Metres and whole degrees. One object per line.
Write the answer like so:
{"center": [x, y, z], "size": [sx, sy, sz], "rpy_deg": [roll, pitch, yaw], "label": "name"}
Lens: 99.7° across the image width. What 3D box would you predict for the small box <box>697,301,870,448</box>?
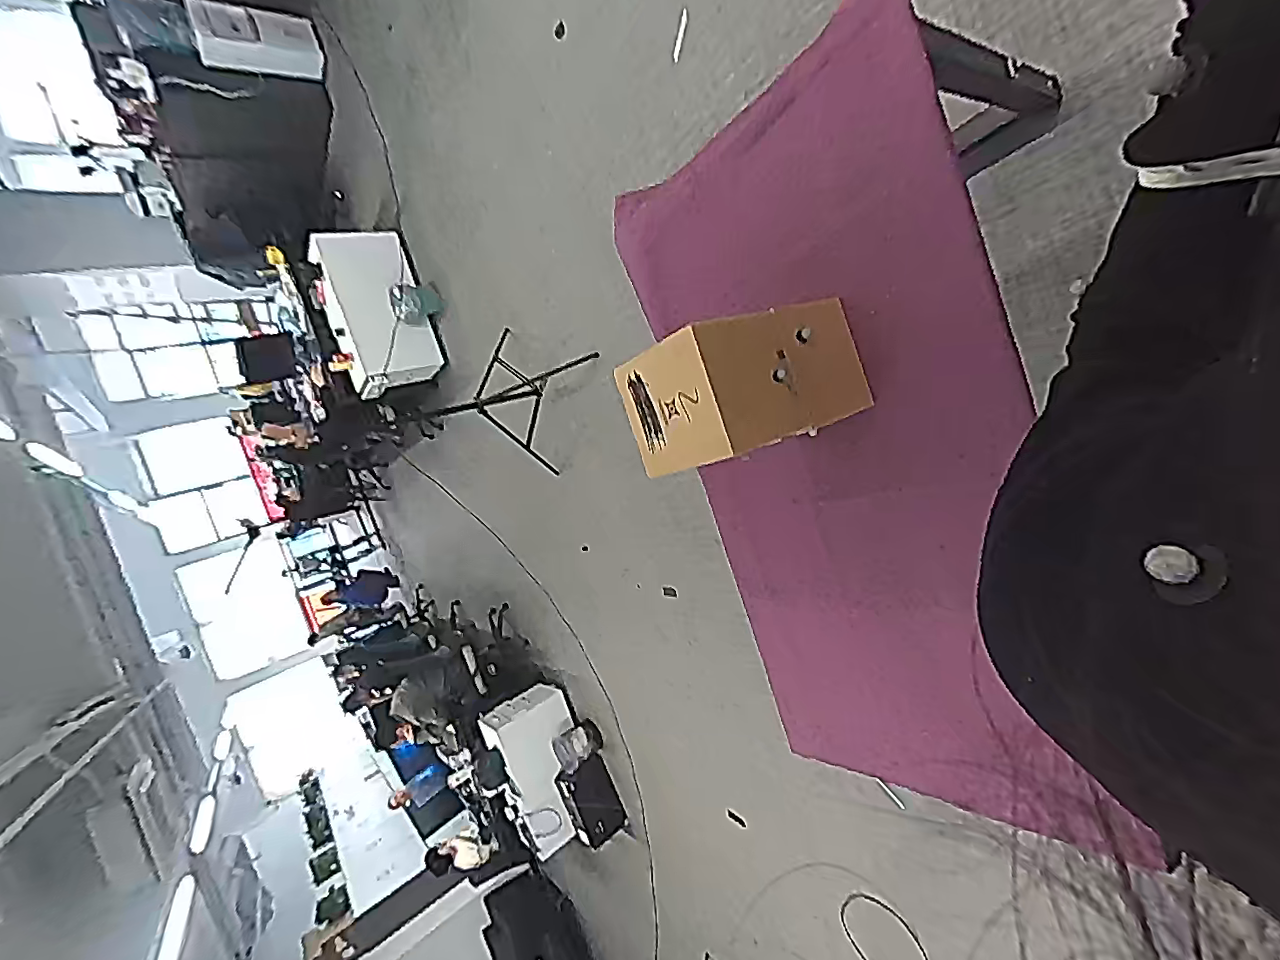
{"center": [0.225, -0.167, 0.845], "size": [0.168, 0.176, 0.179], "rpy_deg": [-16, 95, 56], "label": "small box"}
